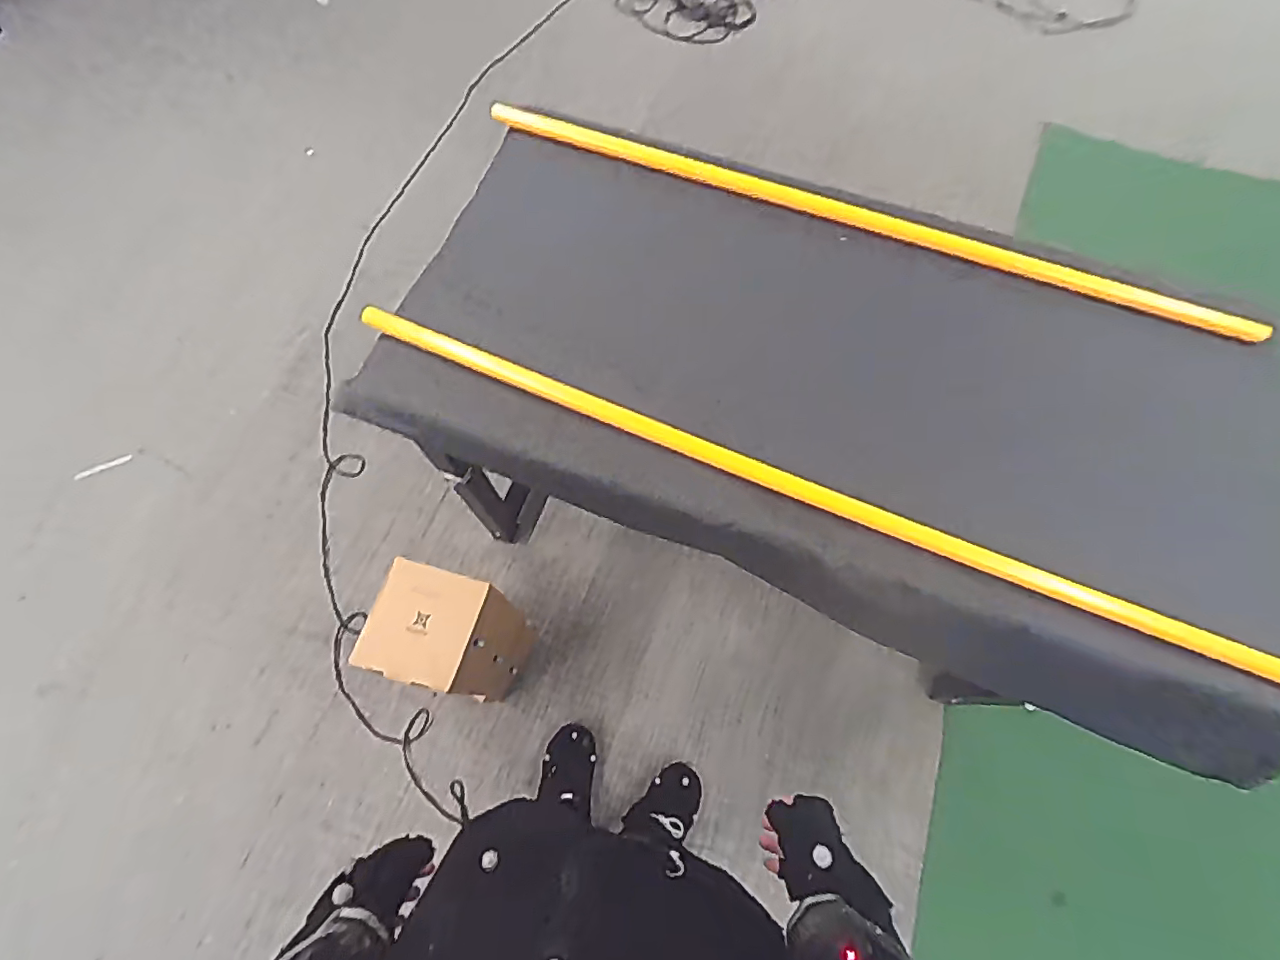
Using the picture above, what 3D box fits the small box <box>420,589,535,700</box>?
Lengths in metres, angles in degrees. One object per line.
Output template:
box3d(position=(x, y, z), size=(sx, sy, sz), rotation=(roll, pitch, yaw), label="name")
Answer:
box3d(position=(-0.354, 0.373, 1.220), size=(0.168, 0.176, 0.179), rotation=(27, 71, 9), label="small box")
